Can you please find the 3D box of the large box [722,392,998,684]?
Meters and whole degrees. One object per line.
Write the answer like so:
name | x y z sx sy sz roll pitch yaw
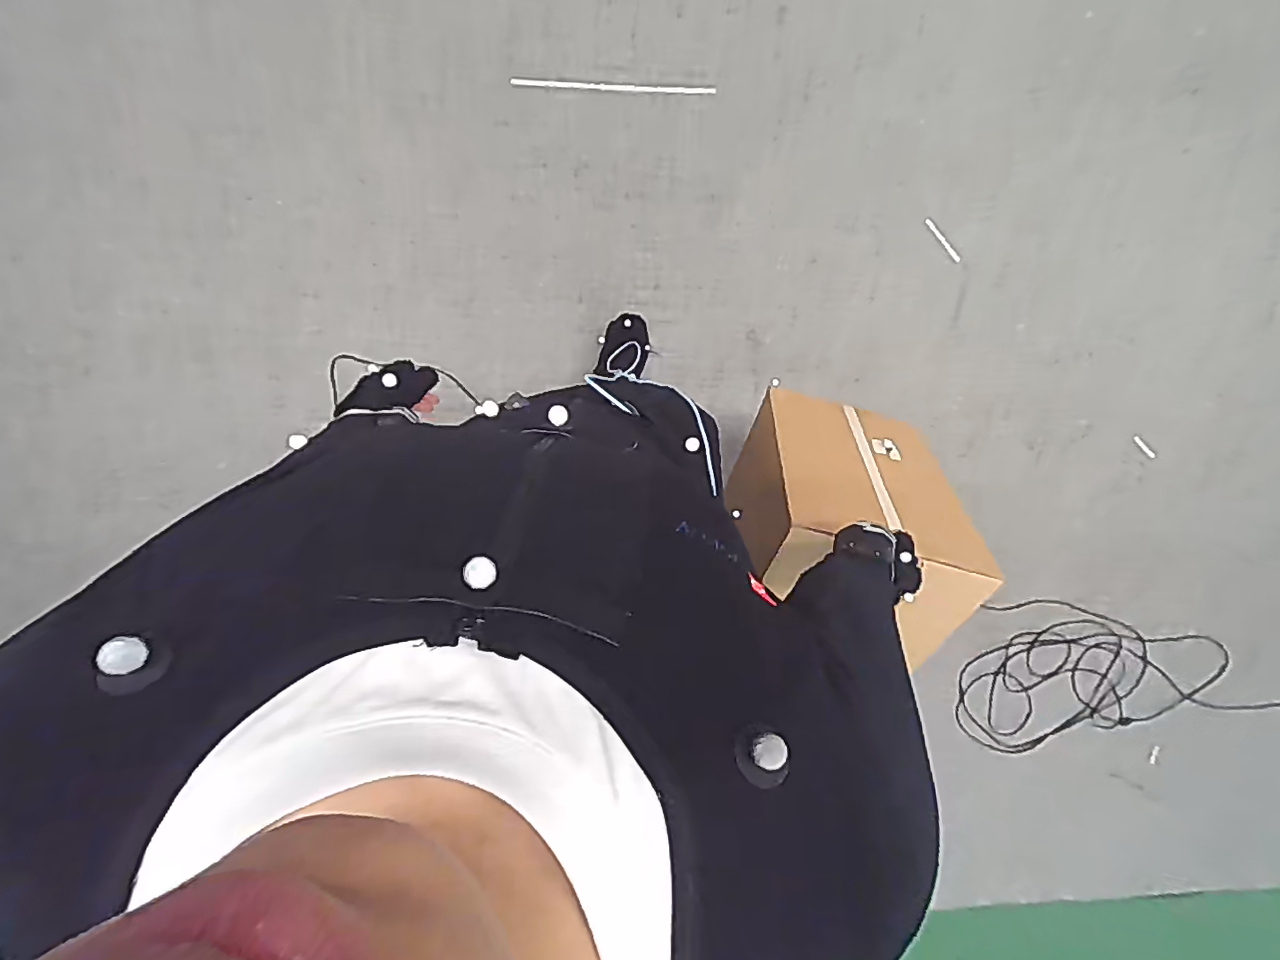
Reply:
large box | 0.345 0.096 0.996 0.320 0.408 0.320 15 127 -3
